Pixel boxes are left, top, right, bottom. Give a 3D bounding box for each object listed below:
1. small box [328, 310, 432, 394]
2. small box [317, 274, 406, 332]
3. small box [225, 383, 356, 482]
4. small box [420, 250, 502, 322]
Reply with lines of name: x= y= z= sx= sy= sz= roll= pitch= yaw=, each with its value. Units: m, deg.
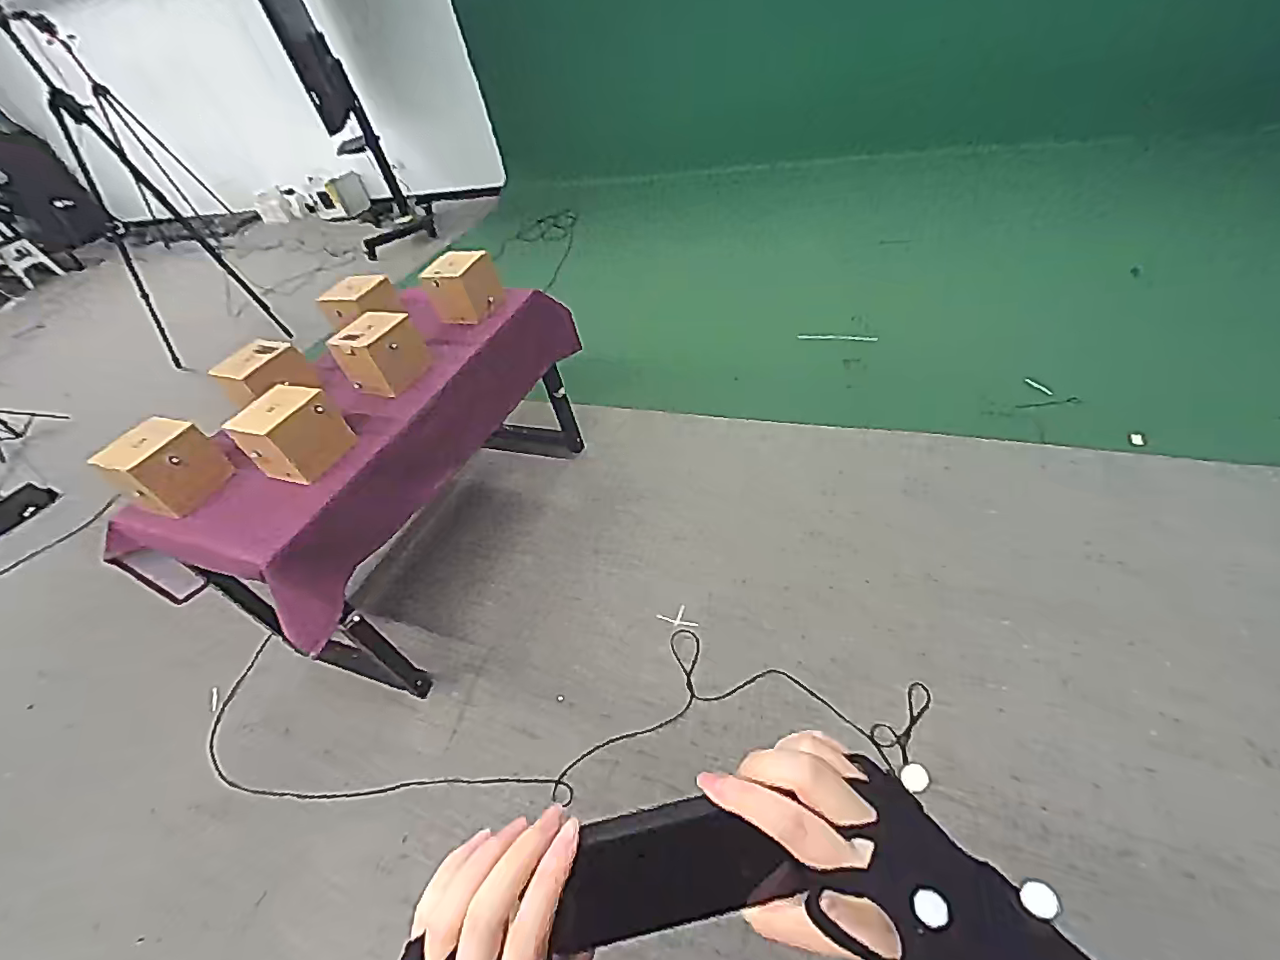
small box: x=-0.740 y=-0.368 z=1.558 sx=0.168 sy=0.176 sz=0.179 roll=11 pitch=49 yaw=24
small box: x=-0.918 y=-0.570 z=1.805 sx=0.179 sy=0.176 sz=0.168 roll=7 pitch=49 yaw=20
small box: x=-0.853 y=-0.117 z=1.339 sx=0.168 sy=0.176 sz=0.179 roll=9 pitch=48 yaw=23
small box: x=-0.581 y=-0.642 z=1.787 sx=0.168 sy=0.176 sz=0.179 roll=7 pitch=48 yaw=22
